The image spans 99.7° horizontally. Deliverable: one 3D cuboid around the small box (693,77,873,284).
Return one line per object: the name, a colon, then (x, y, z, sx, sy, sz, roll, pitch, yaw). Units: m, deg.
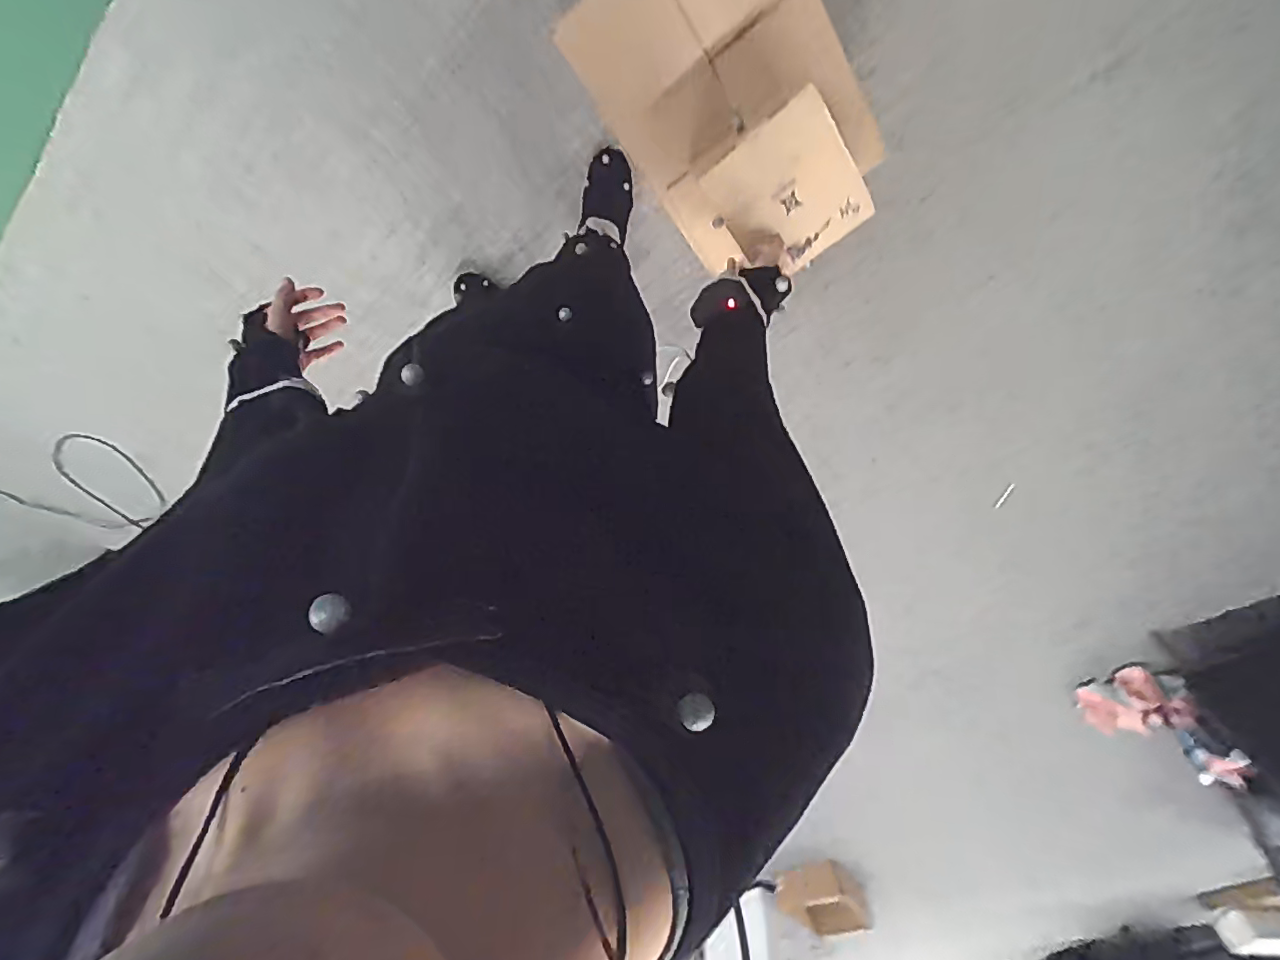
small box: (0.186, -0.409, 0.750, 0.168, 0.176, 0.179, -32, 117, 21)

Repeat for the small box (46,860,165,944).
small box: (-1.633, 1.304, 1.663, 0.168, 0.176, 0.179, -34, 117, 22)
